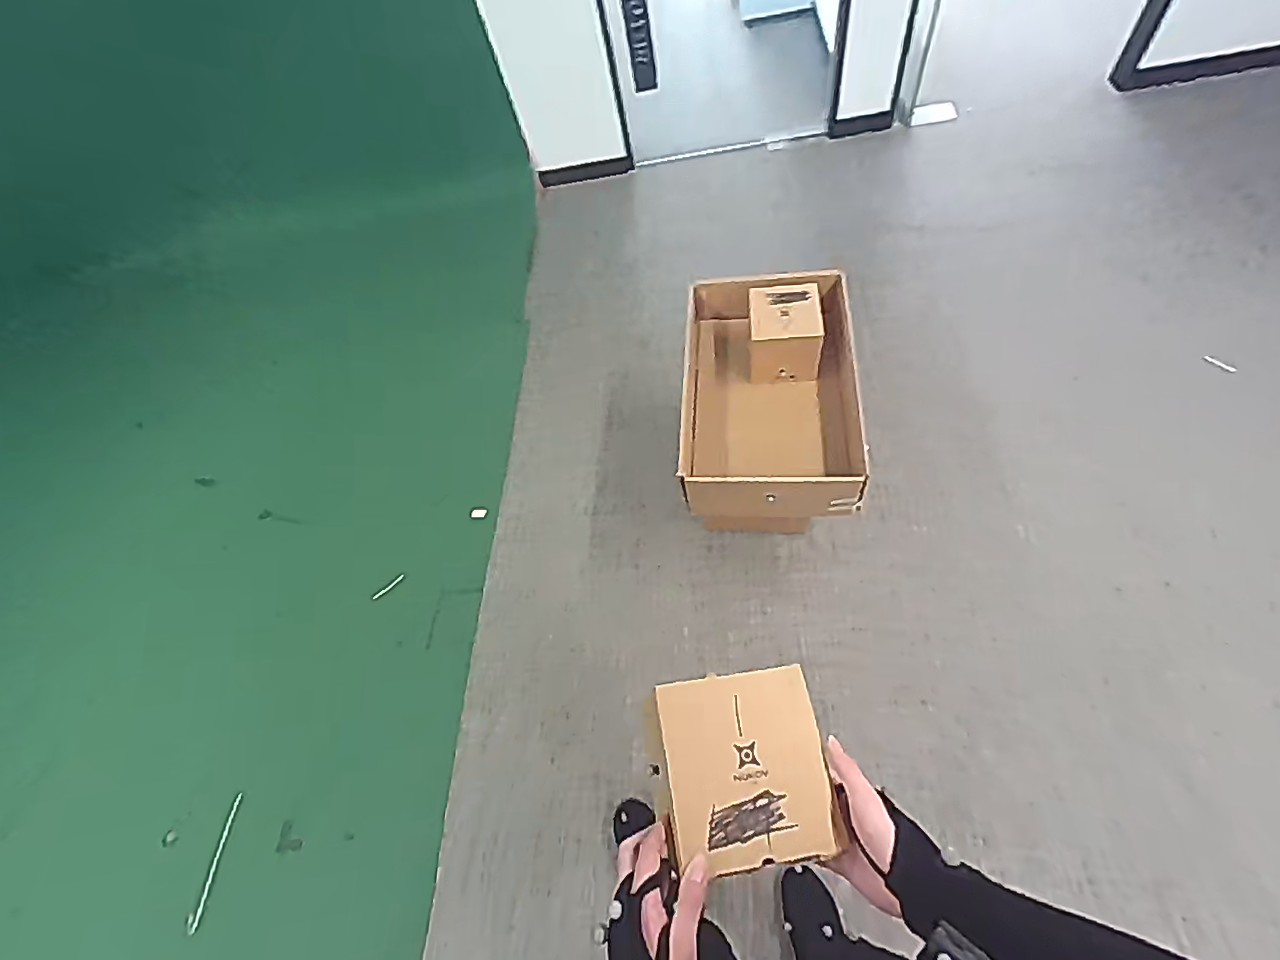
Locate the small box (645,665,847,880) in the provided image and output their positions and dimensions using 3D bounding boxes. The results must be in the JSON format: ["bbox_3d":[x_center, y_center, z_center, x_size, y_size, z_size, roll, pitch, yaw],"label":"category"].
[{"bbox_3d":[0.101,0.318,0.608,0.168,0.176,0.179,-4,62,-7],"label":"small box"}]
